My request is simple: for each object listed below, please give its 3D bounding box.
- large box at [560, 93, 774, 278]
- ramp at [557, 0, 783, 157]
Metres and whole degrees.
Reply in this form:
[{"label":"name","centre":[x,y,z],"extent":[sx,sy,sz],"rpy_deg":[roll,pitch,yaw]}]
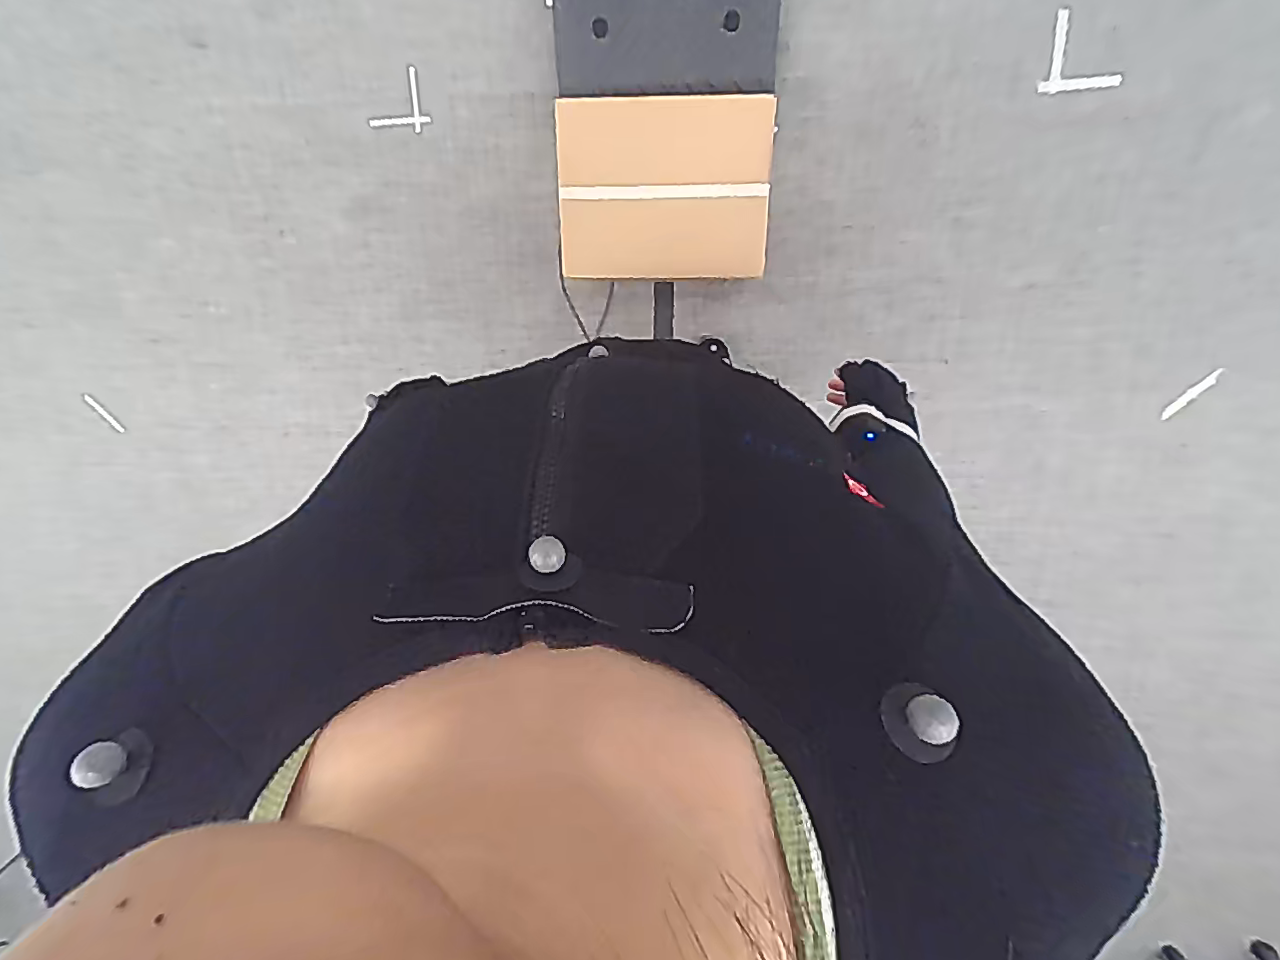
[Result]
[{"label":"large box","centre":[0.062,-0.609,1.182],"extent":[0.408,0.320,0.320],"rpy_deg":[1,109,4]},{"label":"ramp","centre":[0.059,-1.192,1.090],"extent":[0.509,0.206,0.991],"rpy_deg":[-1,106,3]}]
